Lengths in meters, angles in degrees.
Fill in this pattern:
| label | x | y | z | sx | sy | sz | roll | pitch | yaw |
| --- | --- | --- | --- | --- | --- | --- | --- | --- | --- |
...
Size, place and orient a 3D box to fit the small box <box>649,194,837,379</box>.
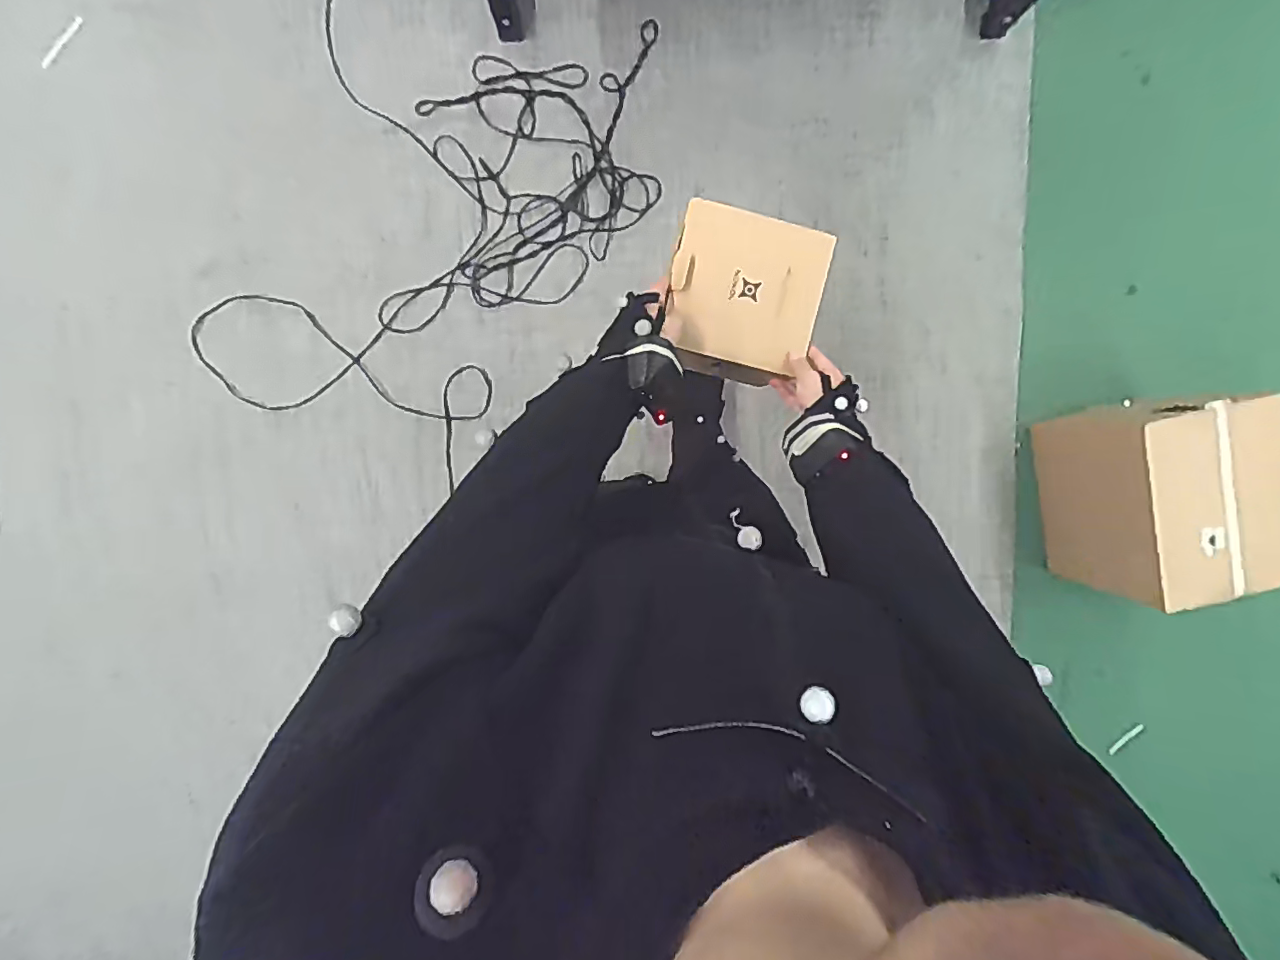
| label | x | y | z | sx | sy | sz | roll | pitch | yaw |
| --- | --- | --- | --- | --- | --- | --- | --- | --- | --- |
| small box | 0.115 | -0.228 | 0.687 | 0.179 | 0.176 | 0.168 | 12 | 96 | -6 |
